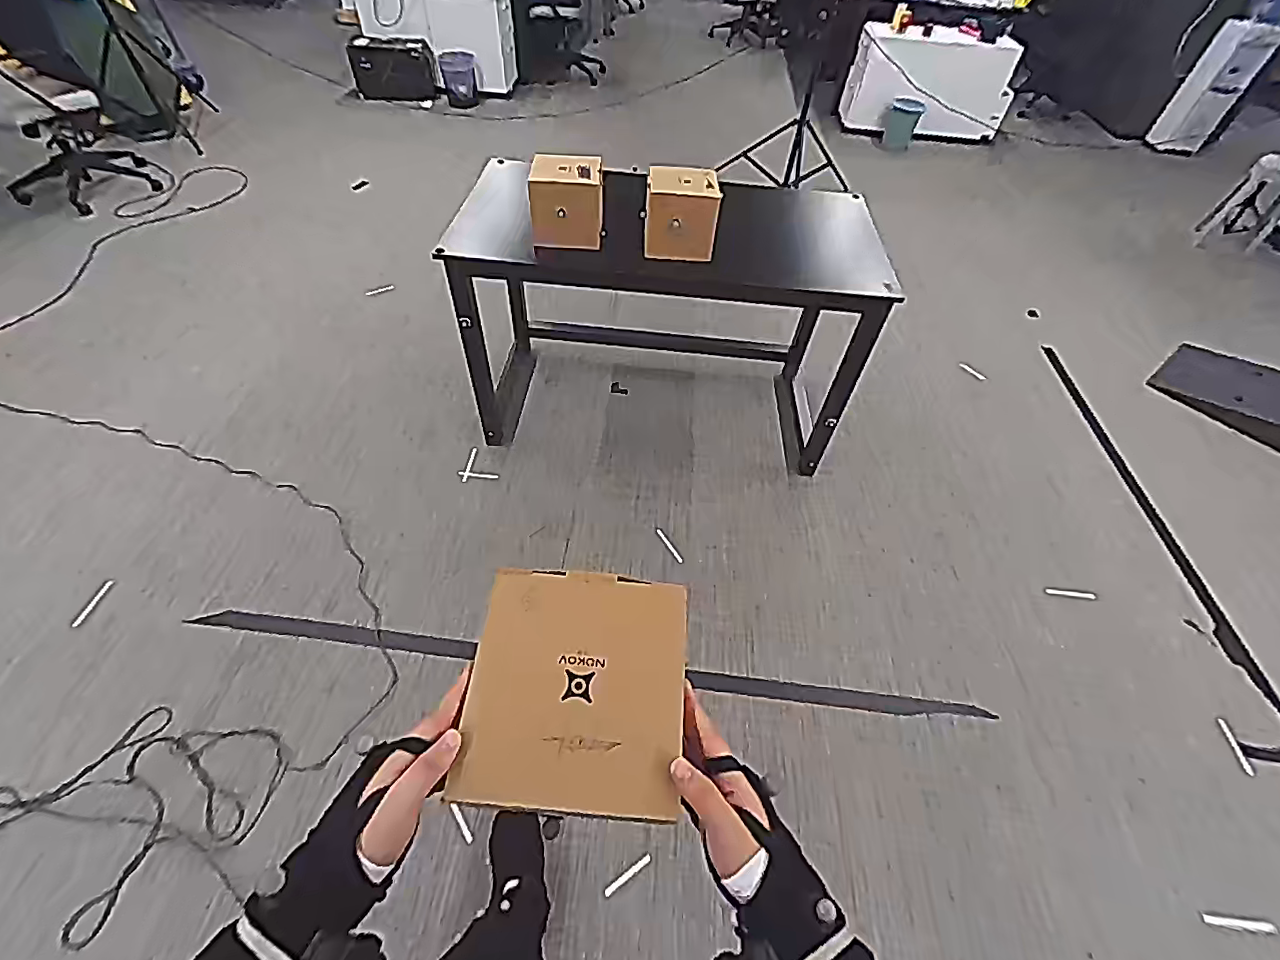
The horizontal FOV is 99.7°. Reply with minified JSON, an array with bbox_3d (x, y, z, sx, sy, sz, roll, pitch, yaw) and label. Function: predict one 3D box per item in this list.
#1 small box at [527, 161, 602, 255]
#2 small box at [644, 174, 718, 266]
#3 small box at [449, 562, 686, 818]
[{"bbox_3d":[-0.192,-0.713,1.425,0.179,0.176,0.168,1,50,-2],"label":"small box"},{"bbox_3d":[0.101,-0.681,1.421,0.179,0.176,0.168,2,50,-2],"label":"small box"},{"bbox_3d":[-0.054,0.196,0.491,0.168,0.176,0.179,6,57,-1],"label":"small box"}]
